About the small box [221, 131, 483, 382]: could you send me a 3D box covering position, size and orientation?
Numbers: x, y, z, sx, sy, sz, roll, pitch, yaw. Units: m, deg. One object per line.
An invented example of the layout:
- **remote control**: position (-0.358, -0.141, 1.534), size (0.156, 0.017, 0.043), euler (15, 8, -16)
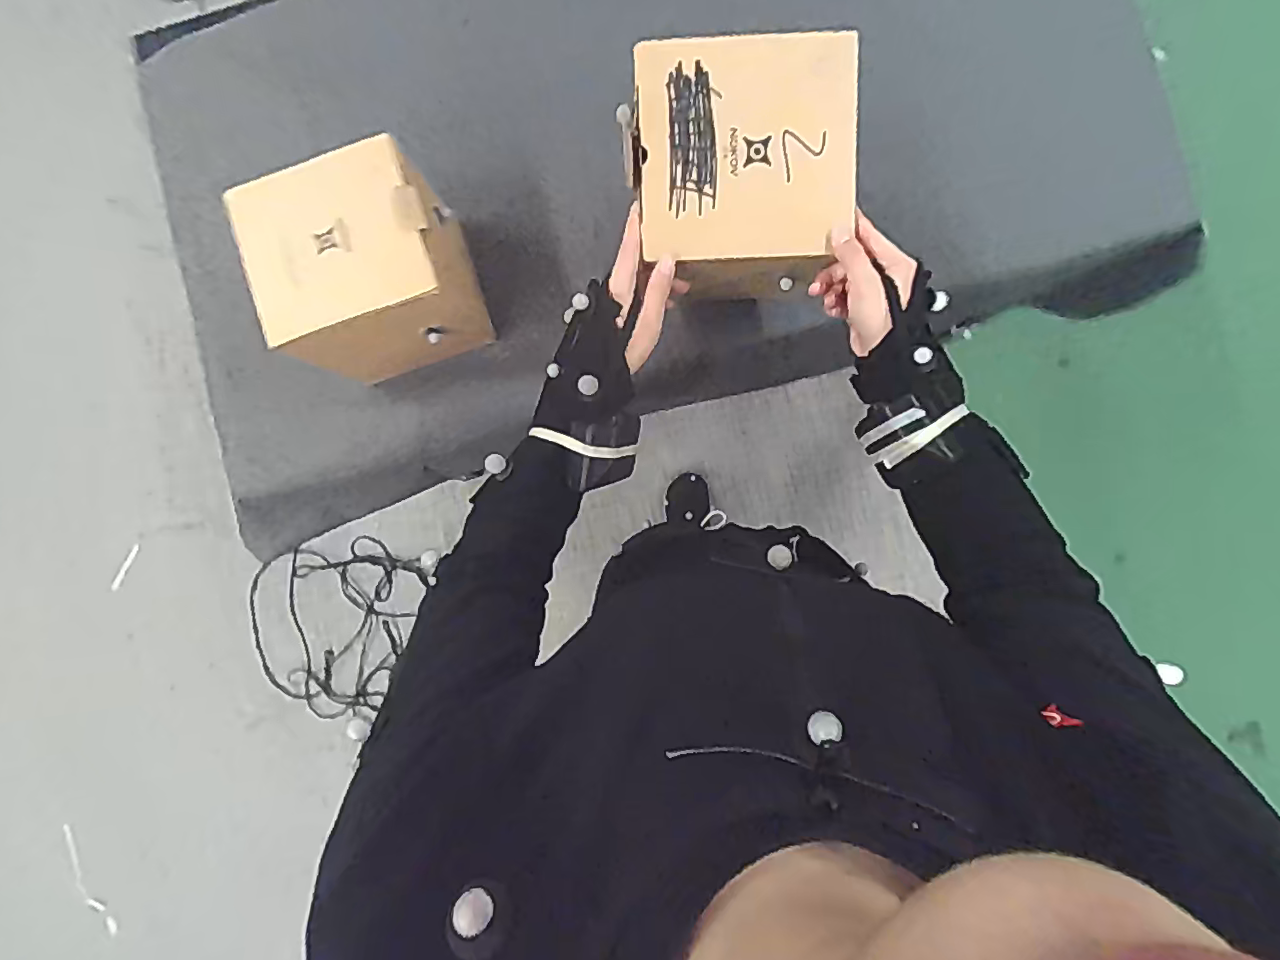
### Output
- **small box**: position (-0.289, -0.224, 0.589), size (0.179, 0.176, 0.168), euler (-20, 86, 3)
